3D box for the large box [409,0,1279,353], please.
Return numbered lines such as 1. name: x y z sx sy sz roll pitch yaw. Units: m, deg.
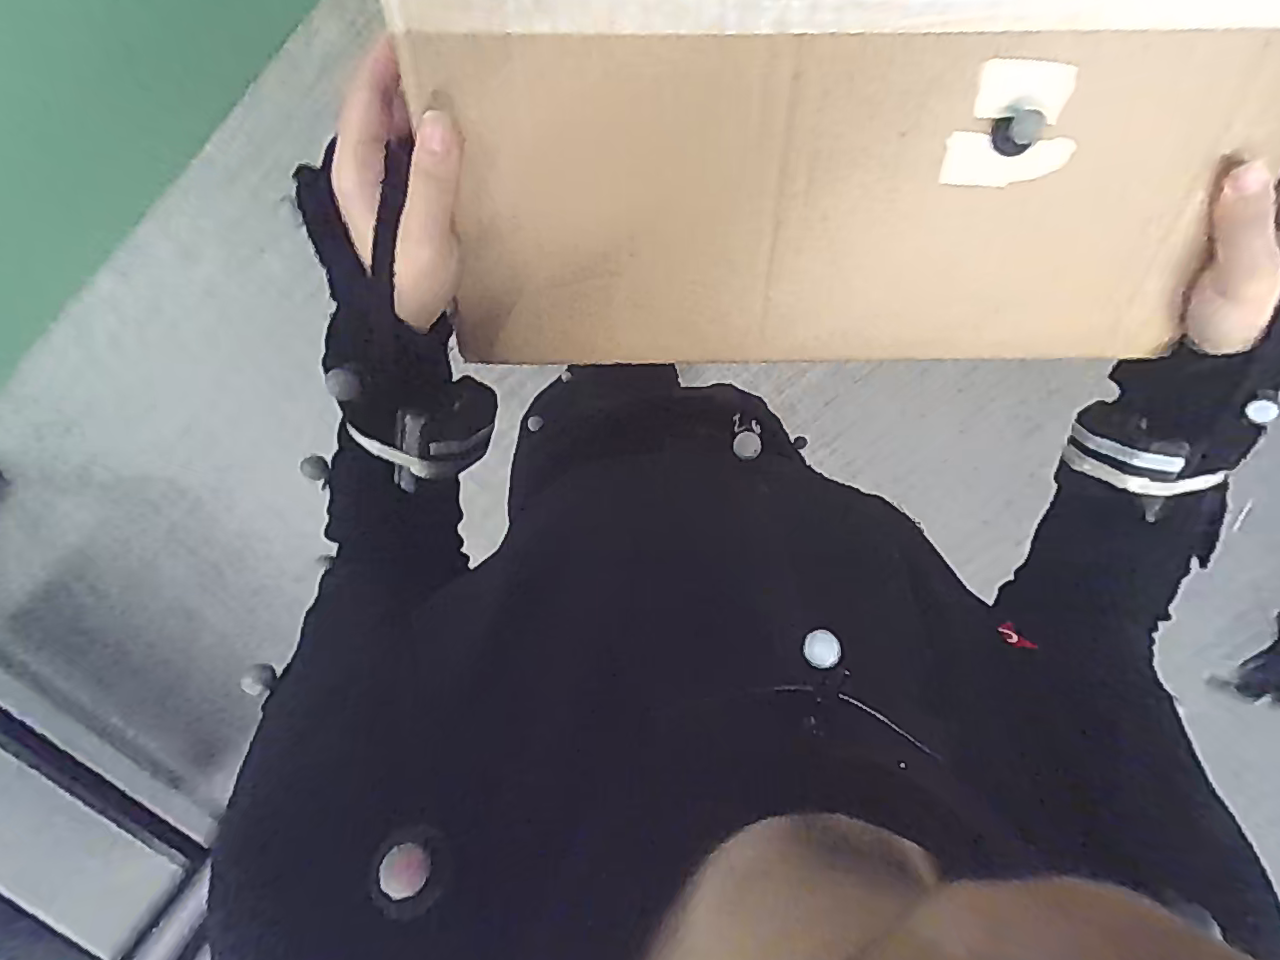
1. large box: 0.091 -0.293 0.351 0.408 0.320 0.320 -3 125 -2
